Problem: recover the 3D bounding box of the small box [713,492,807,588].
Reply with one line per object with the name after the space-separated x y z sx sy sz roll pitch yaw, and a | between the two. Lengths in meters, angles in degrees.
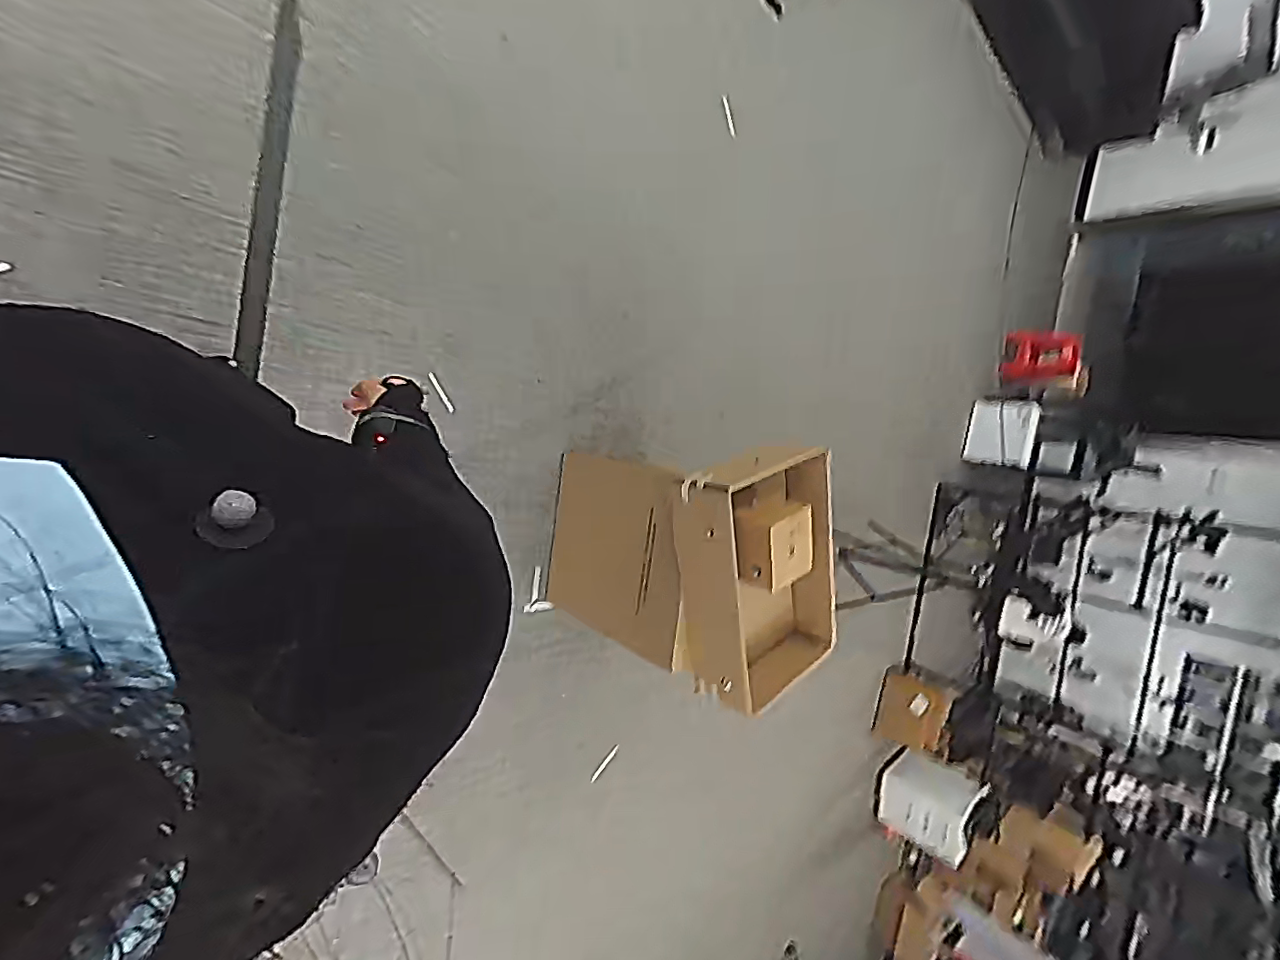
0.302 0.144 1.364 0.168 0.176 0.179 -20 111 -37 | small box
